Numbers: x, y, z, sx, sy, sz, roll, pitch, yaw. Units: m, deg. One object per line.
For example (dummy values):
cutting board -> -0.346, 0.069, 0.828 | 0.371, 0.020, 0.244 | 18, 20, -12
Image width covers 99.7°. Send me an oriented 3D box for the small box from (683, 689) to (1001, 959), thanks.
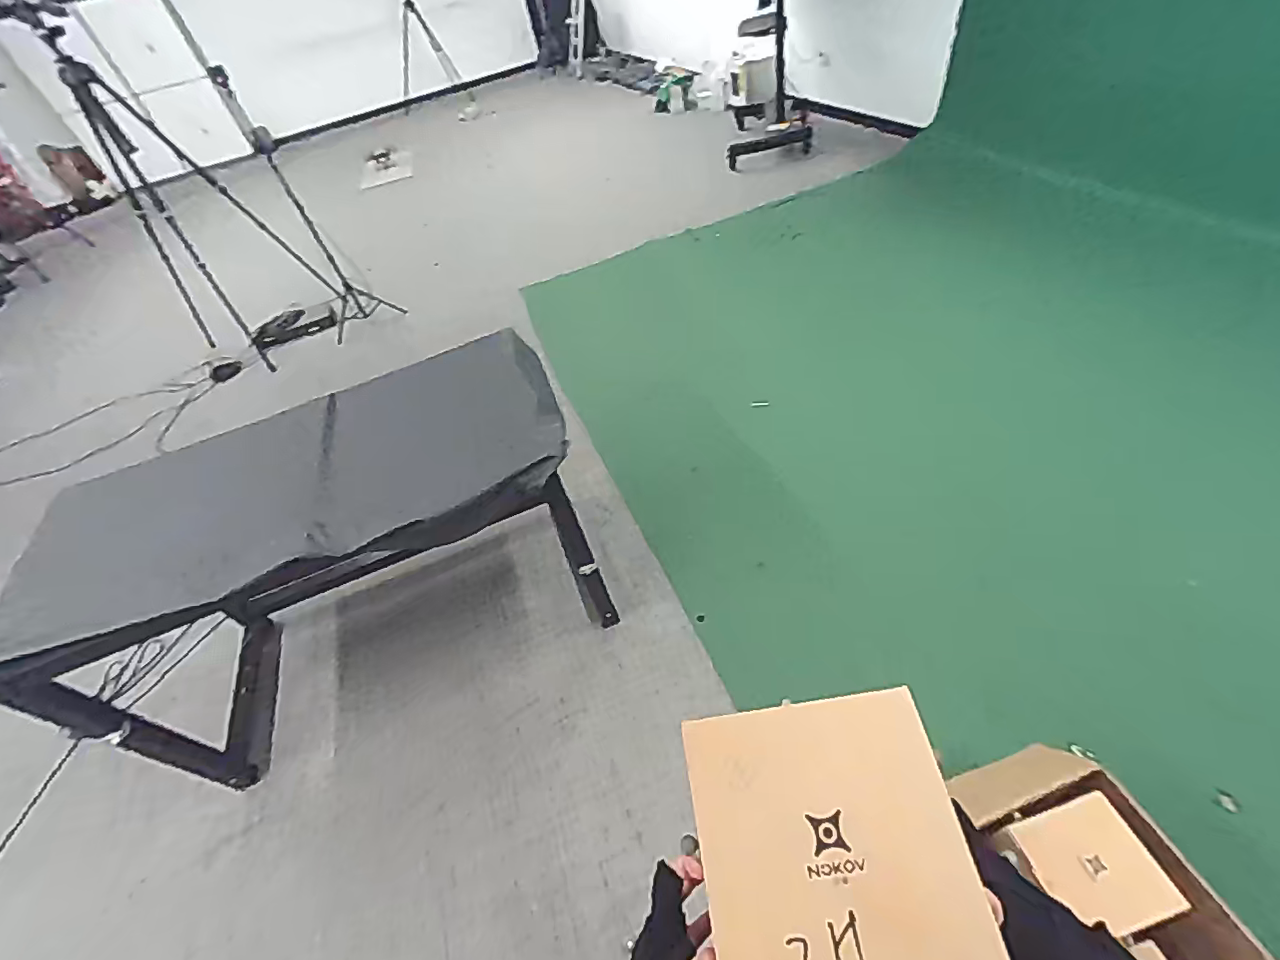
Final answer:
small box -> 0.128, 0.276, 0.411 | 0.168, 0.176, 0.179 | -10, 58, 3
